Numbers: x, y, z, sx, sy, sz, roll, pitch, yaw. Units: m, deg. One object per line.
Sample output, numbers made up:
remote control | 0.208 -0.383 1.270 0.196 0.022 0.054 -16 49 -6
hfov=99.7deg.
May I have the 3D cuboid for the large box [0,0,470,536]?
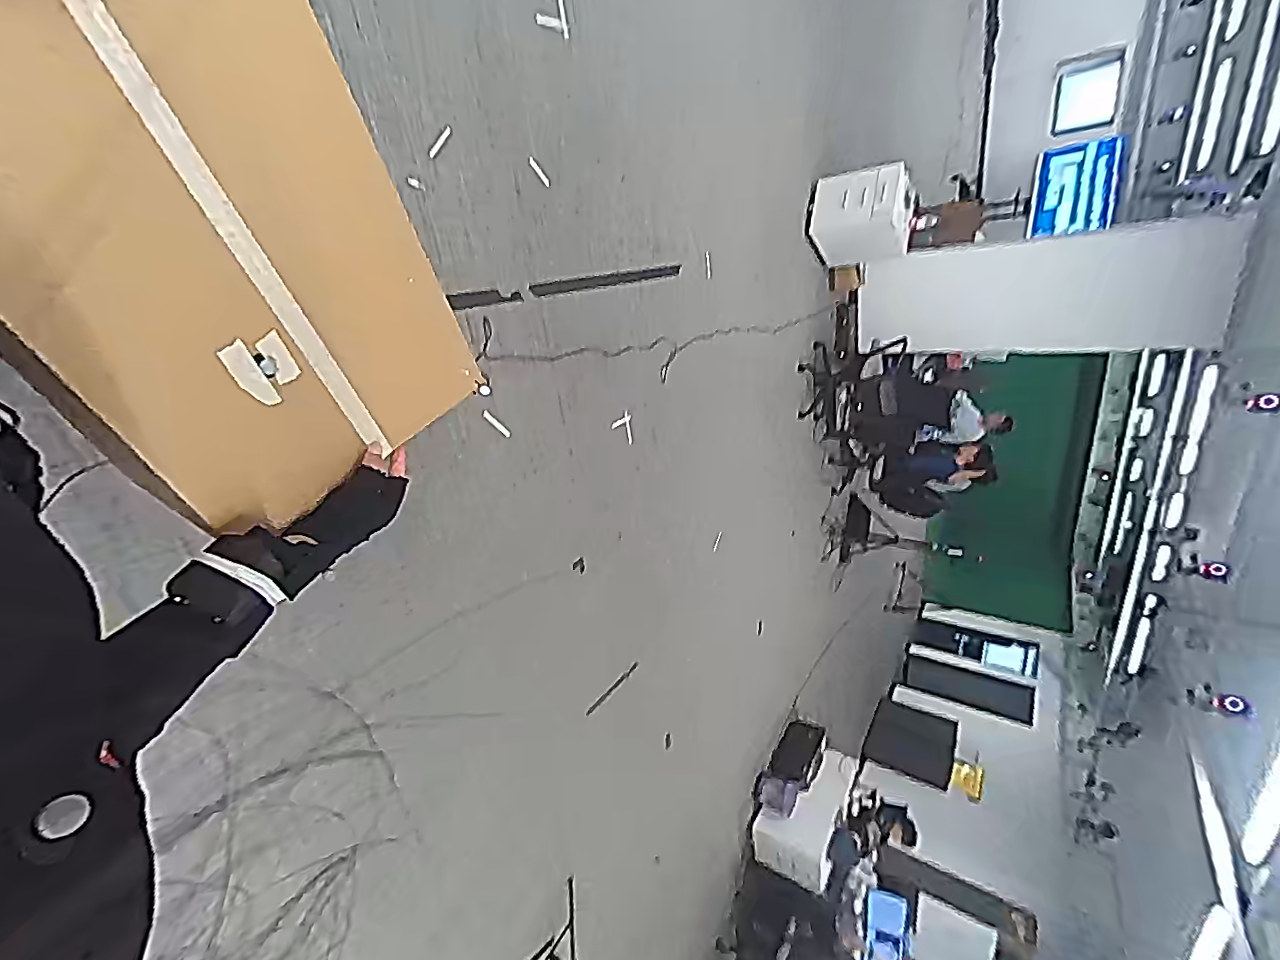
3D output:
large box | -0.458 -0.216 0.544 0.320 0.320 0.408 -50 139 -34
